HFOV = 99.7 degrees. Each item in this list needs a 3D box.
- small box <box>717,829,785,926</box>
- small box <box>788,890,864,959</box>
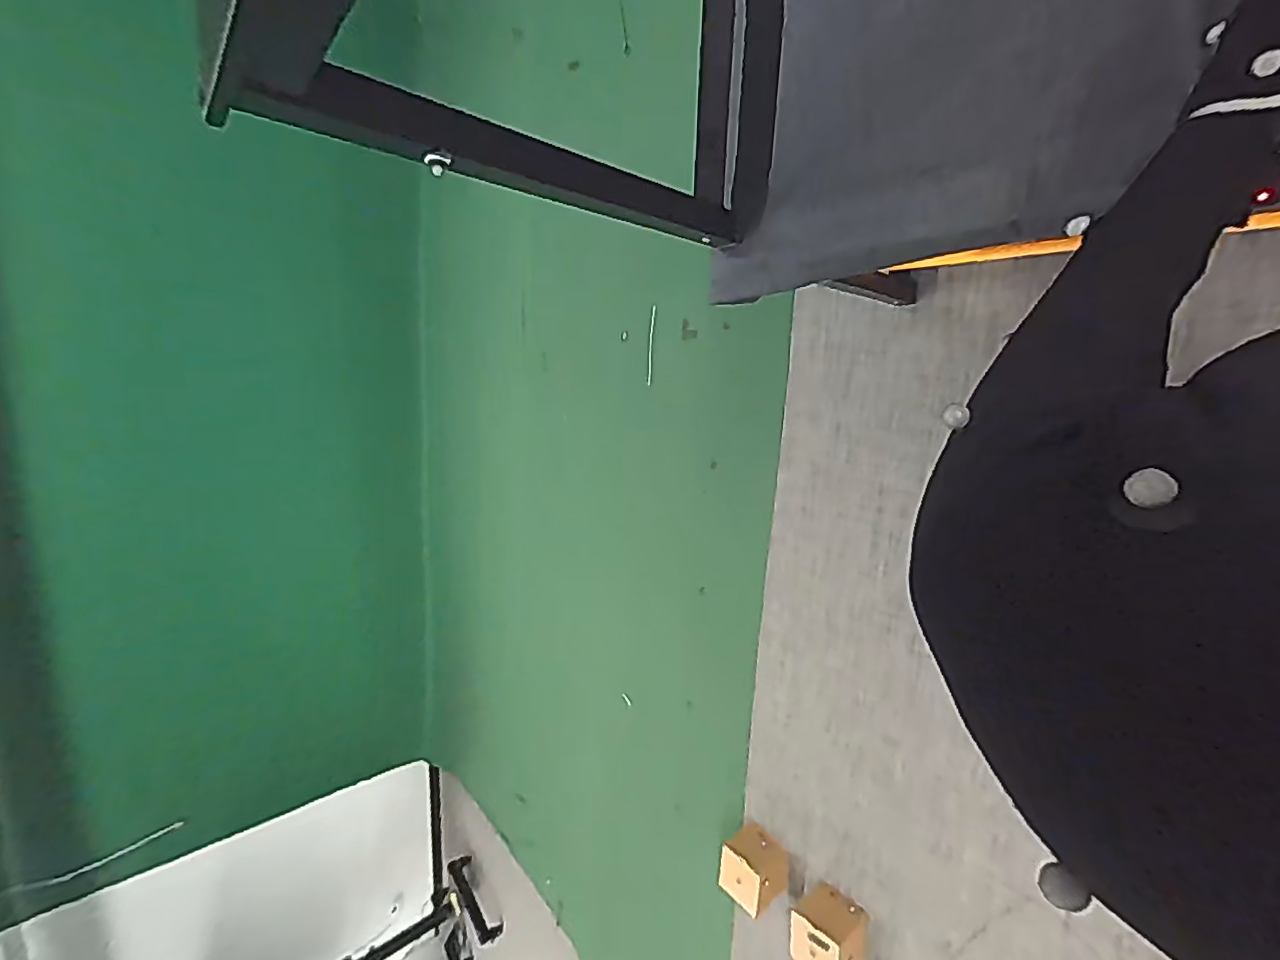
[{"bbox_3d":[0.391,1.386,1.898,0.168,0.176,0.179,14,105,47],"label":"small box"},{"bbox_3d":[0.582,1.443,1.683,0.168,0.176,0.179,9,102,48],"label":"small box"}]
